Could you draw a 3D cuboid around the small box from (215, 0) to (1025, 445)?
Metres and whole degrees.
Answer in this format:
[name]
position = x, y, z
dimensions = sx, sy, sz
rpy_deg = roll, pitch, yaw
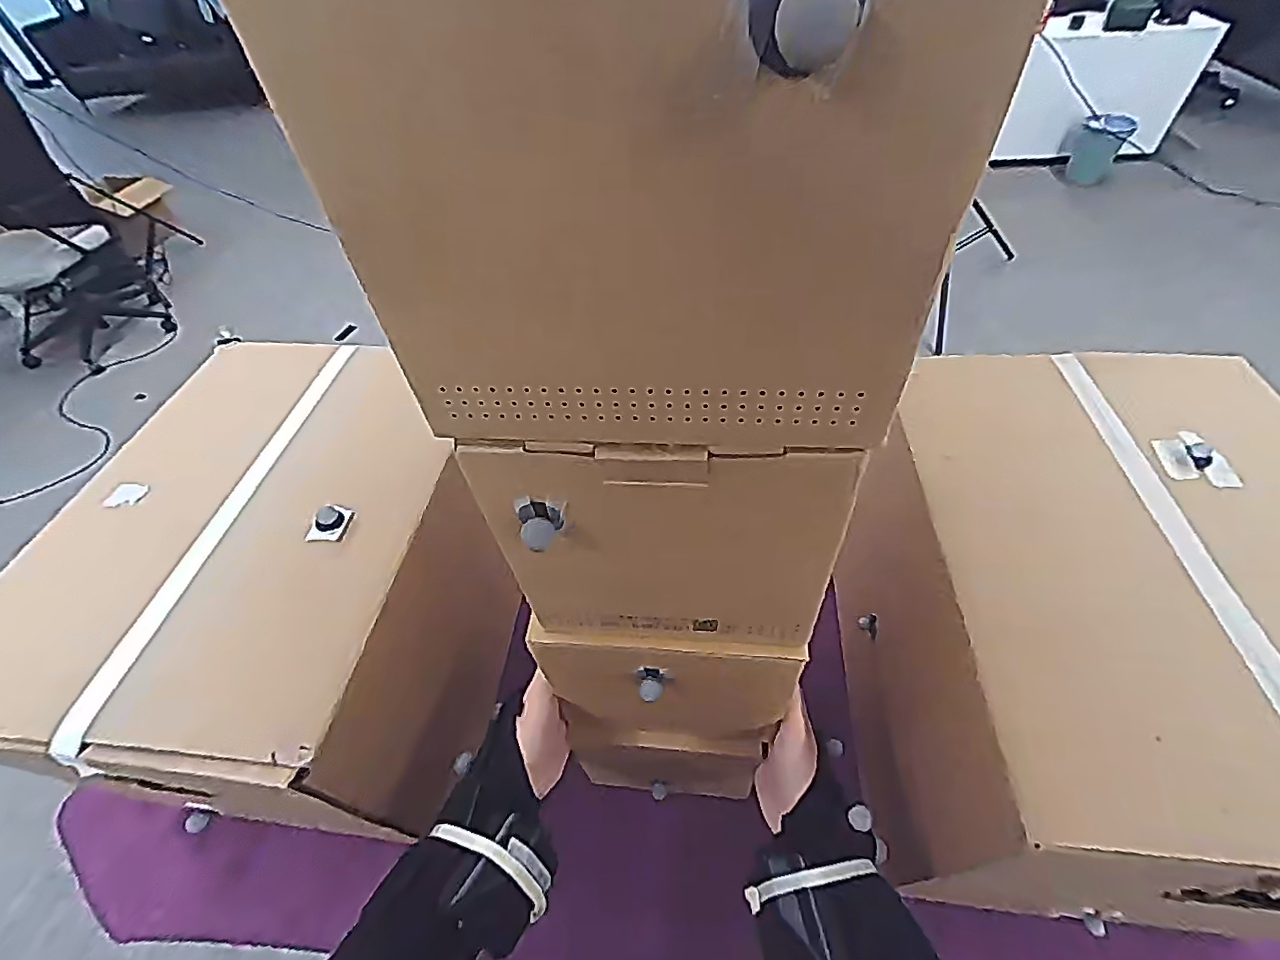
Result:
[small box]
position = 0.005, -0.127, 0.201
dimensions = 0.179, 0.176, 0.168
rpy_deg = 2, 48, 8

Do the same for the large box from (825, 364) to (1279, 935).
[large box]
position = 0.375, 0.141, 0.497
dimensions = 0.320, 0.320, 0.408
rpy_deg = 2, 48, 6
